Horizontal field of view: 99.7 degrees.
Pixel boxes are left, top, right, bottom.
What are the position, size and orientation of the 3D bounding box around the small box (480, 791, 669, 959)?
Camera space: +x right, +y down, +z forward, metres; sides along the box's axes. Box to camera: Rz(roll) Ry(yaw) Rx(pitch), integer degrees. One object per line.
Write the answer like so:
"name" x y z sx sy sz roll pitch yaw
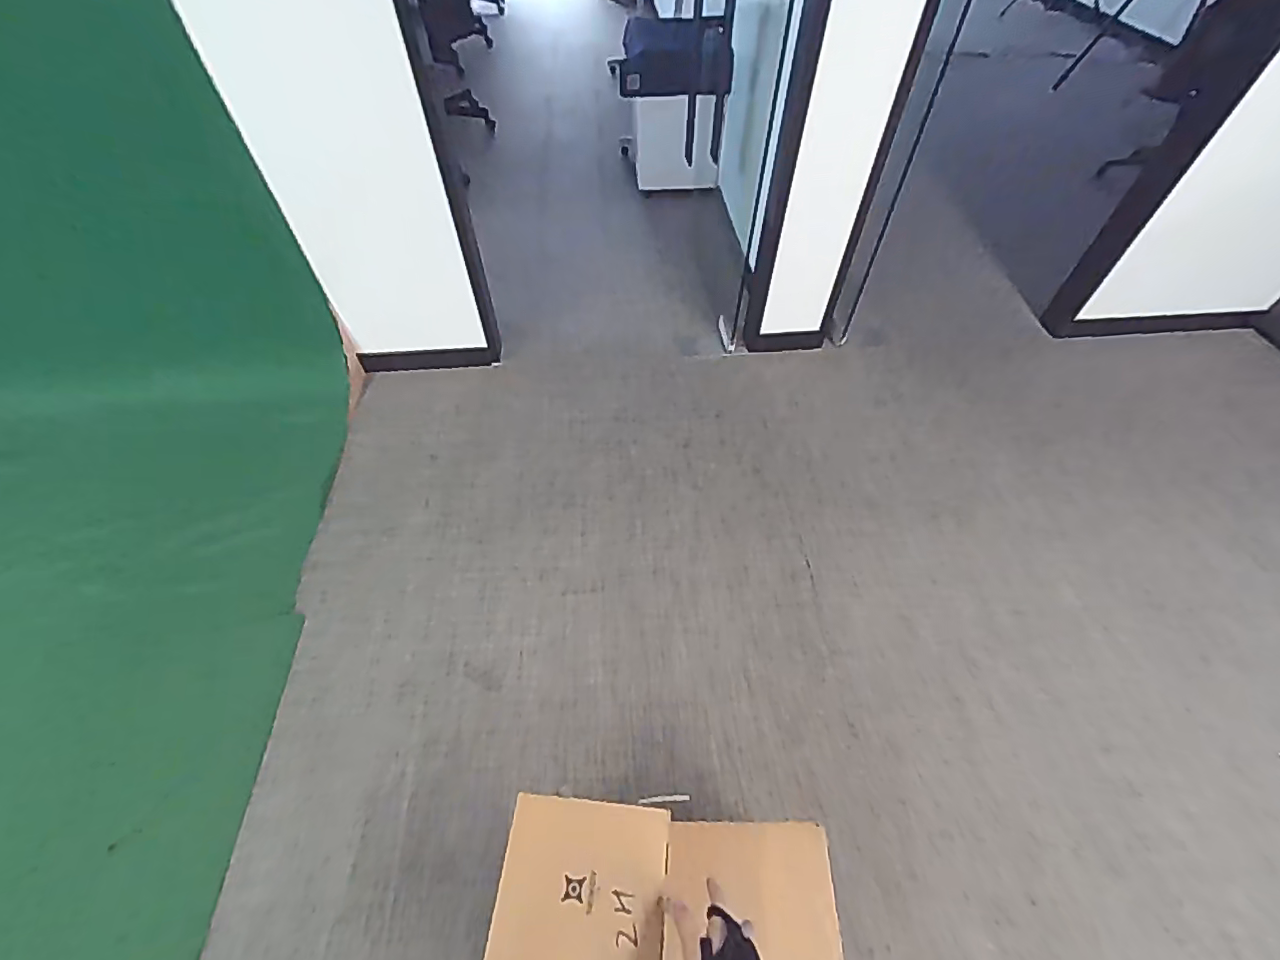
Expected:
"small box" -0.062 0.473 0.621 0.179 0.176 0.168 5 52 4
